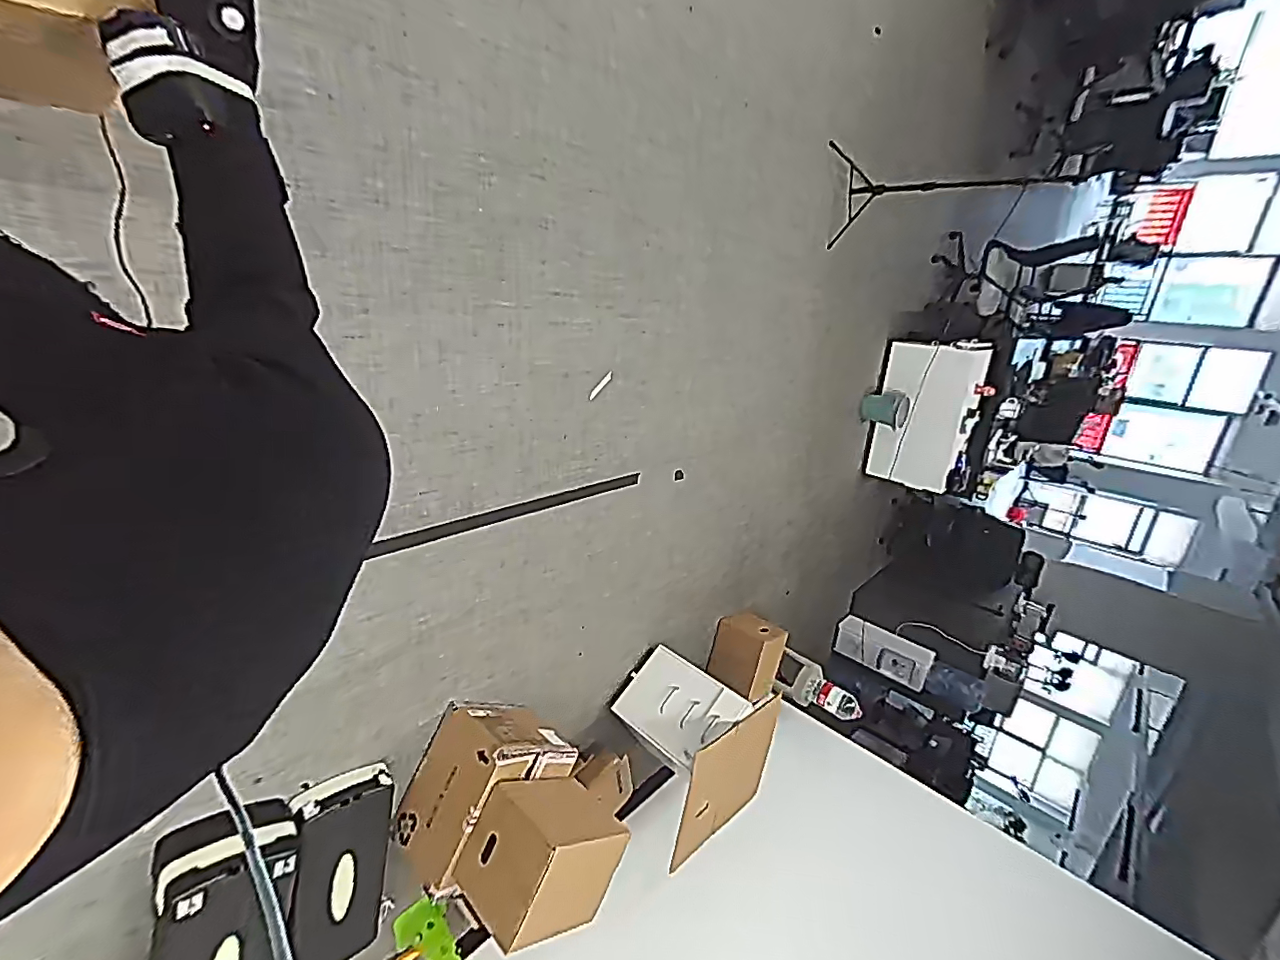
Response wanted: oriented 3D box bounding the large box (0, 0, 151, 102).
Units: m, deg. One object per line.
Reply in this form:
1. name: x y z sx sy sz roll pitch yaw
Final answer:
1. large box: -0.586 -0.442 0.279 0.408 0.320 0.320 -22 121 -45
